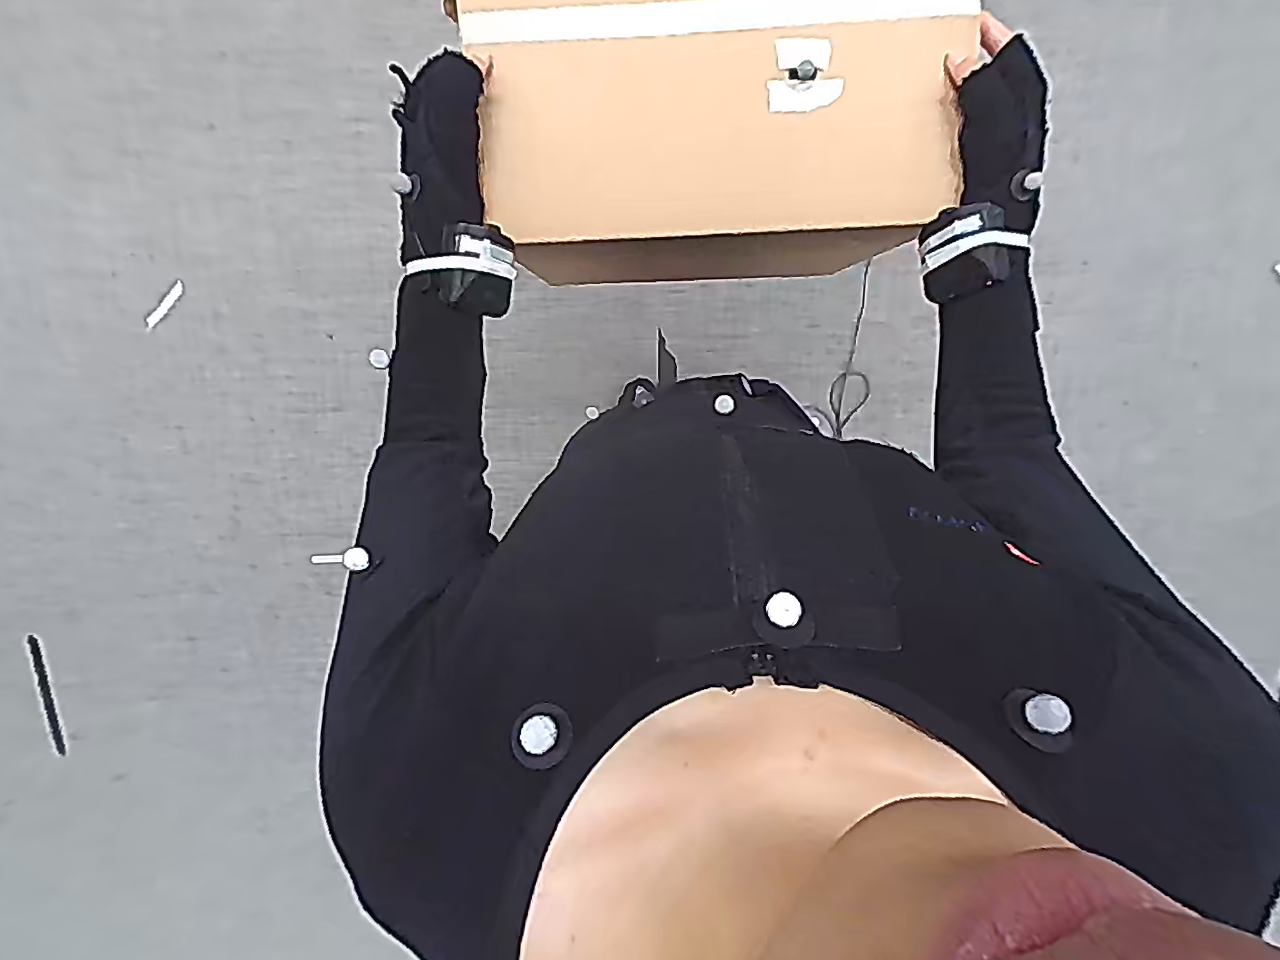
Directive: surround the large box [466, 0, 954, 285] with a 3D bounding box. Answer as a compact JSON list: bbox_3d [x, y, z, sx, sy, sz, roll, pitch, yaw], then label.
[{"bbox_3d":[0.056,-0.404,0.589,0.408,0.320,0.320,-3,104,0],"label":"large box"}]
